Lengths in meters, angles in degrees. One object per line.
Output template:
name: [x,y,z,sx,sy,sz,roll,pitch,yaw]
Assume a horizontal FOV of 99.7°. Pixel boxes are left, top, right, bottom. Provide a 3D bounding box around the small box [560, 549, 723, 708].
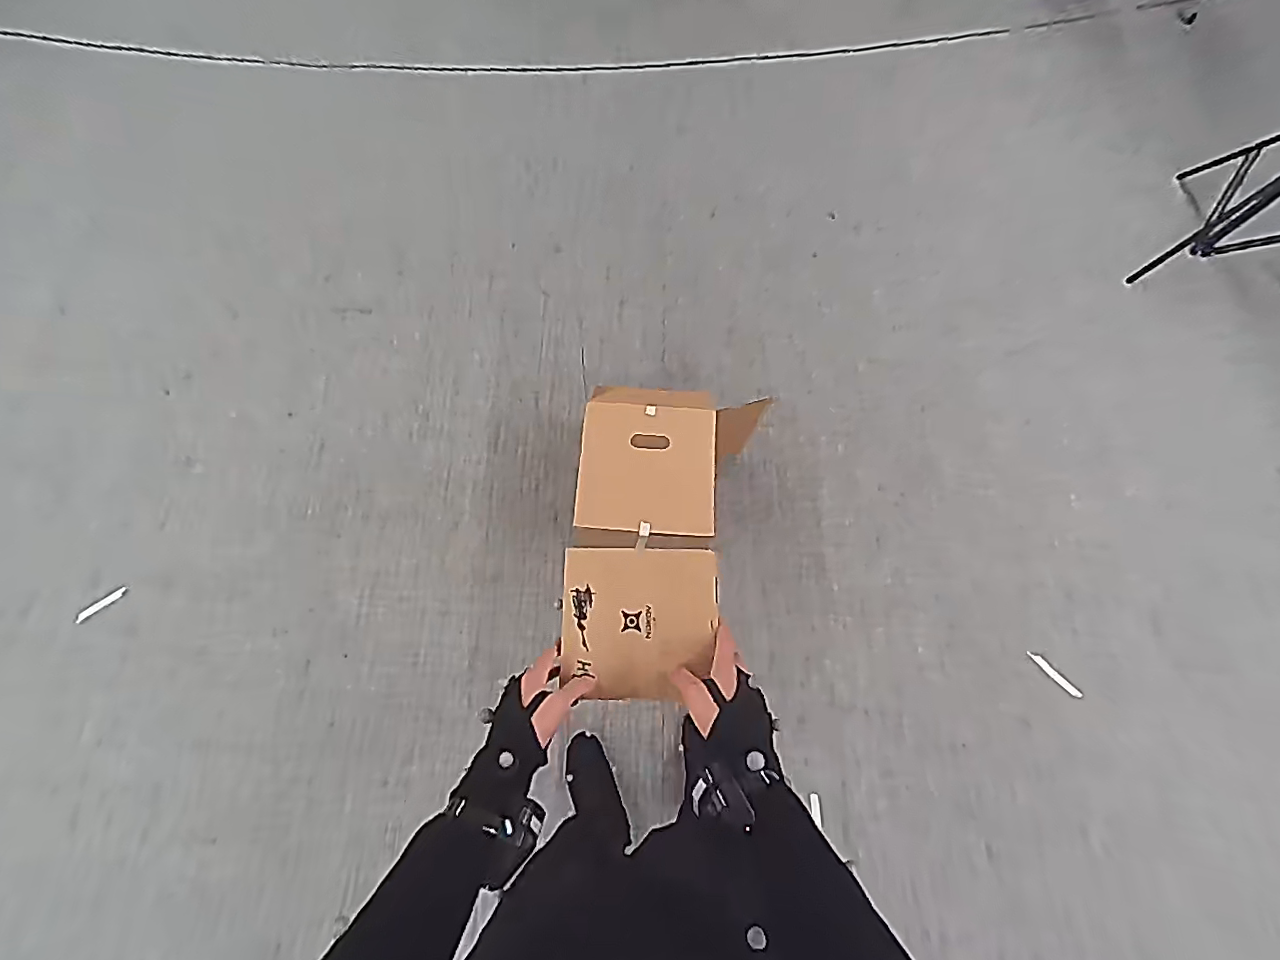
small box: [0.004,0.177,0.671,0.179,0.176,0.168,2,78,1]
